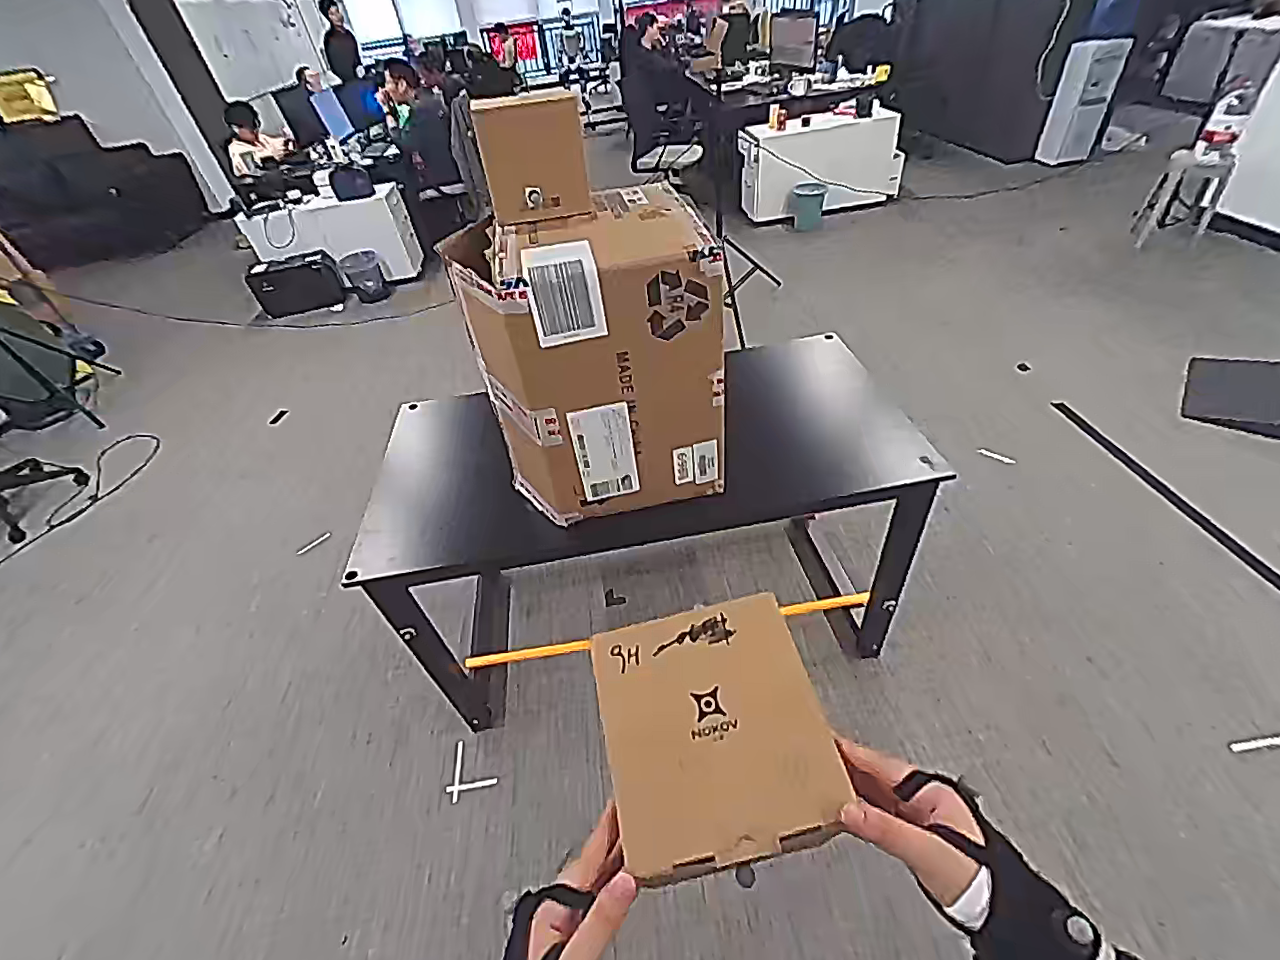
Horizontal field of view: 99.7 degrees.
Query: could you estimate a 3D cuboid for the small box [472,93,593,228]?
[{"bbox_3d":[-0.184,-0.551,0.932,0.168,0.176,0.179,-13,41,-6],"label":"small box"}]
